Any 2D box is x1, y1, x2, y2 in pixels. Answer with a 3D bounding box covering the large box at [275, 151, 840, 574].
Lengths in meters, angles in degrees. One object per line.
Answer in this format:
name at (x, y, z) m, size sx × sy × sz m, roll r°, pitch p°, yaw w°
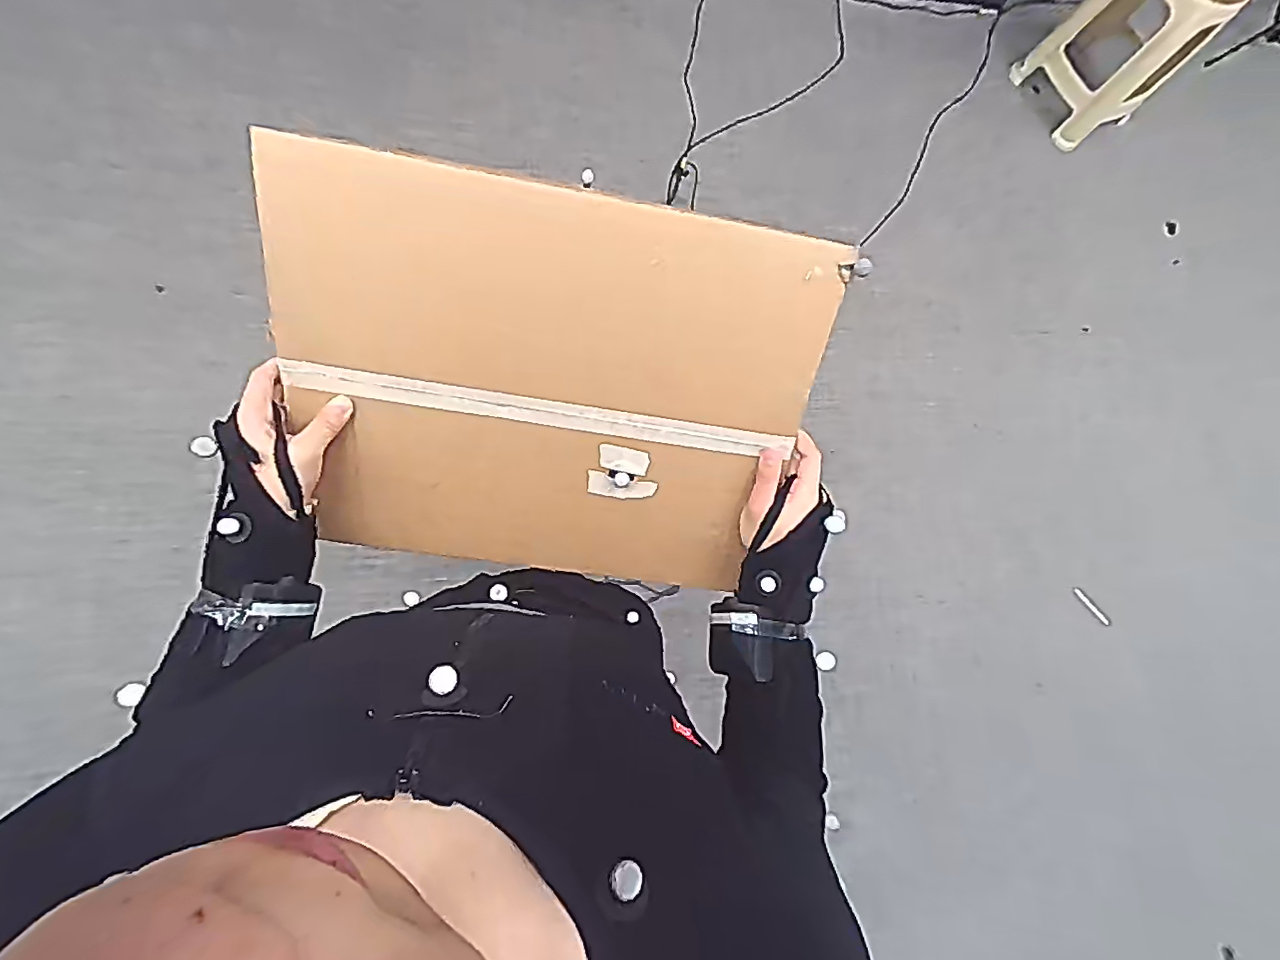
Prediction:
large box at (-0.078, -0.131, 0.575) m, size 0.408 × 0.320 × 0.320 m, roll 7°, pitch 119°, yaw -7°
